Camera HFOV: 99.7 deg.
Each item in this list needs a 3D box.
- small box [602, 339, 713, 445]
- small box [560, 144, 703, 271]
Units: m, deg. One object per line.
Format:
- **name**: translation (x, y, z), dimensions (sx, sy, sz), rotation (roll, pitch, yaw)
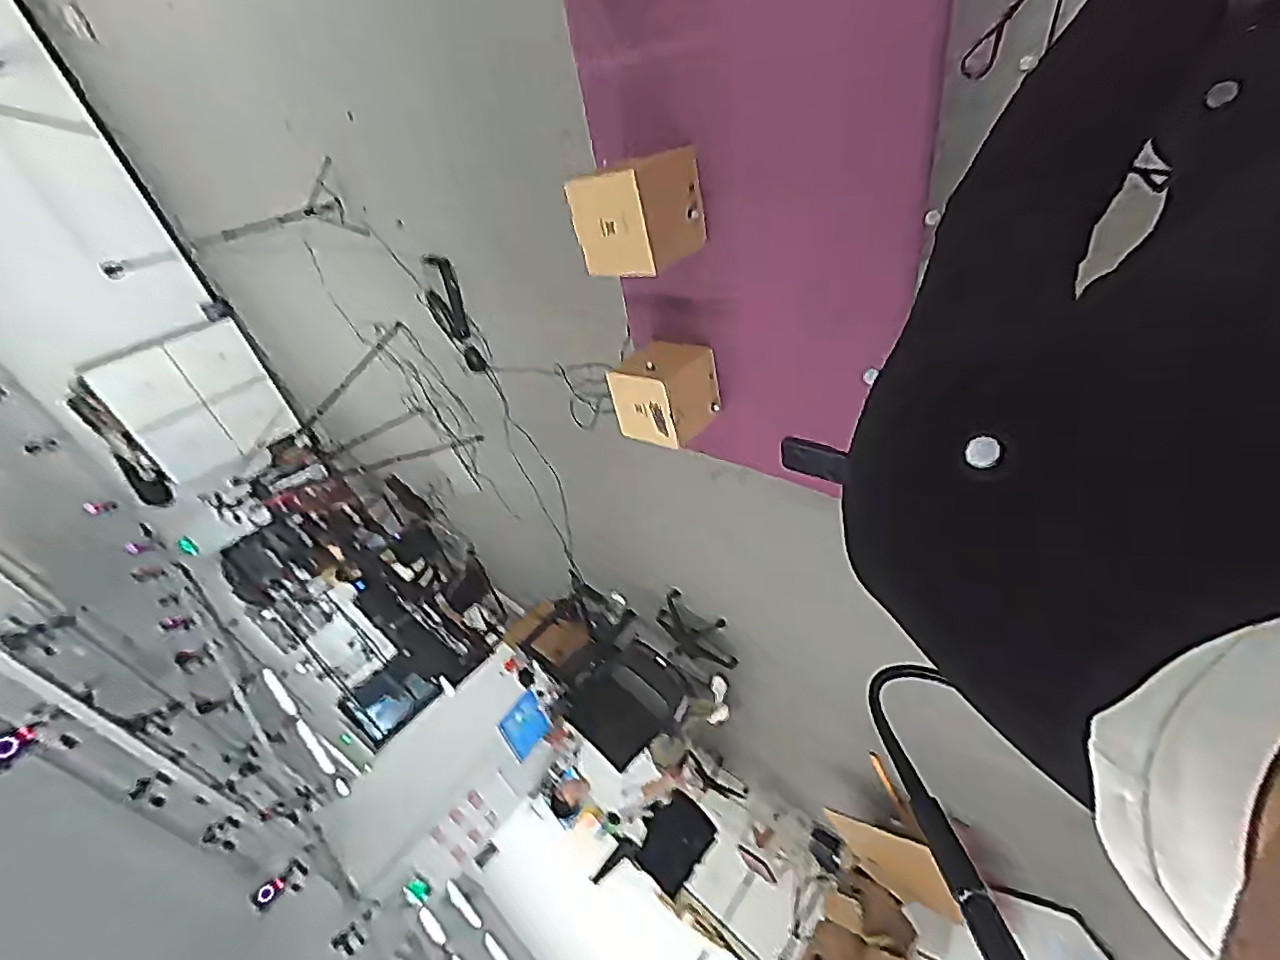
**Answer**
- **small box**: translation (0.048, -0.204, 1.210), dimensions (0.179, 0.176, 0.168), rotation (19, 136, 40)
- **small box**: translation (-0.011, -0.492, 0.985), dimensions (0.179, 0.176, 0.168), rotation (18, 137, 39)
